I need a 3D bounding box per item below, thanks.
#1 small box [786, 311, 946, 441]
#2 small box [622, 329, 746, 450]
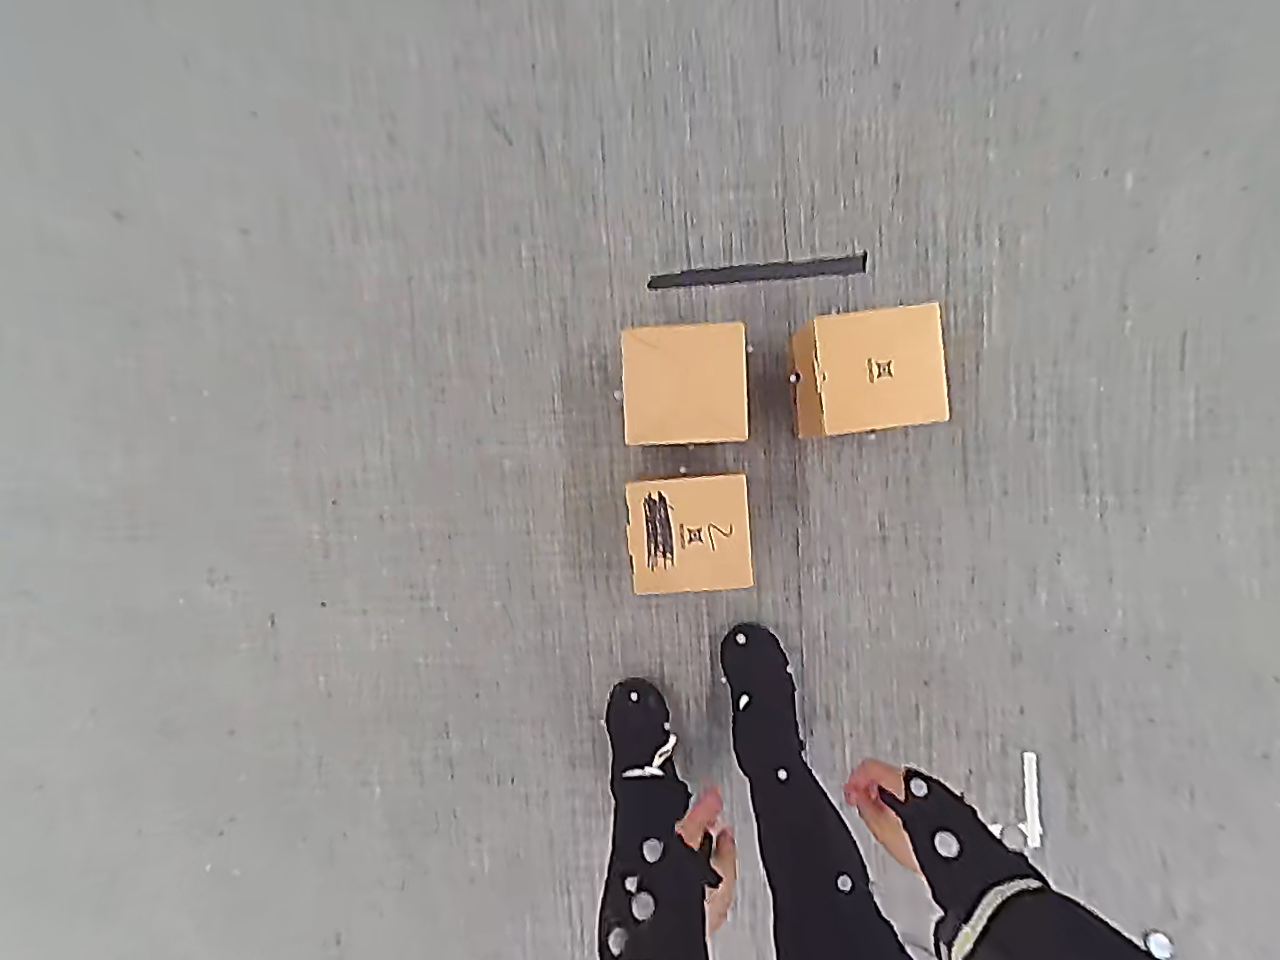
[{"bbox_3d":[0.338,-0.152,0.837,0.179,0.176,0.168,-7,93,4],"label":"small box"},{"bbox_3d":[0.068,-0.134,0.846,0.179,0.176,0.168,-2,93,2],"label":"small box"}]
